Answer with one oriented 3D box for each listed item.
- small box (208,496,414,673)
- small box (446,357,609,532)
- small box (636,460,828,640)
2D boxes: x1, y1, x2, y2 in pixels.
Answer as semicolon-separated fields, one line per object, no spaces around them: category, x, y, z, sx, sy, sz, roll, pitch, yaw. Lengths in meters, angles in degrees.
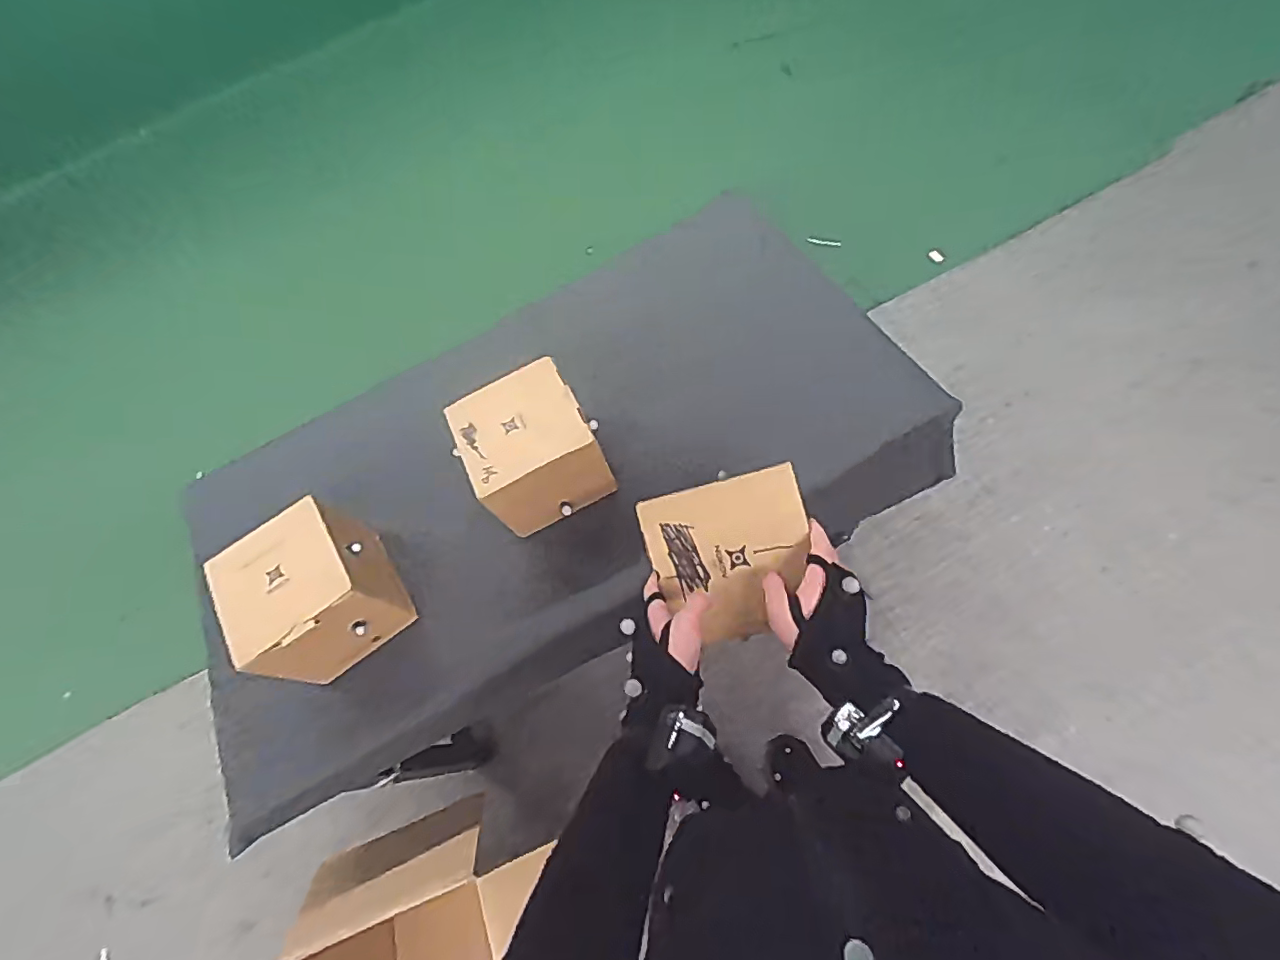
small box;-0.463;0.160;0.782;0.168;0.176;0.179;-36;63;-9
small box;-0.159;-0.047;0.822;0.179;0.176;0.168;-27;64;-4
small box;0.115;0.079;0.649;0.179;0.176;0.168;-15;85;15
